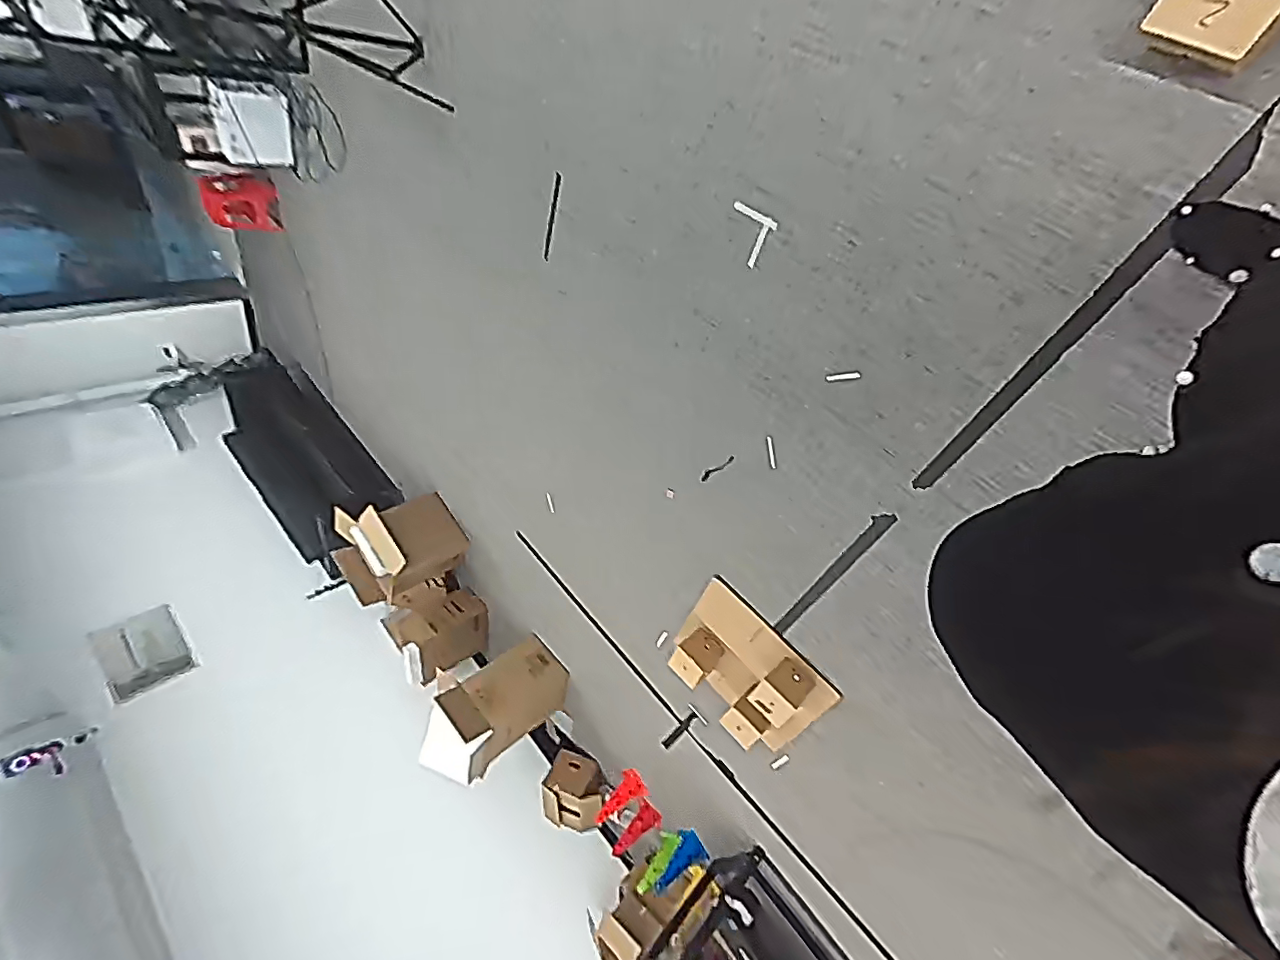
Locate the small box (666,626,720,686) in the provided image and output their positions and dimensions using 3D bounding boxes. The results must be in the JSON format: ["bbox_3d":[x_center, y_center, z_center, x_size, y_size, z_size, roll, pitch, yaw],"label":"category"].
[{"bbox_3d":[0.255,0.833,2.565,0.168,0.176,0.179,40,135,25],"label":"small box"}]

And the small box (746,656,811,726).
[{"bbox_3d":[0.575,0.870,2.238,0.168,0.176,0.179,42,134,22],"label":"small box"}]

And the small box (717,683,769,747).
[{"bbox_3d":[0.483,1.055,2.433,0.168,0.176,0.179,42,135,22],"label":"small box"}]
